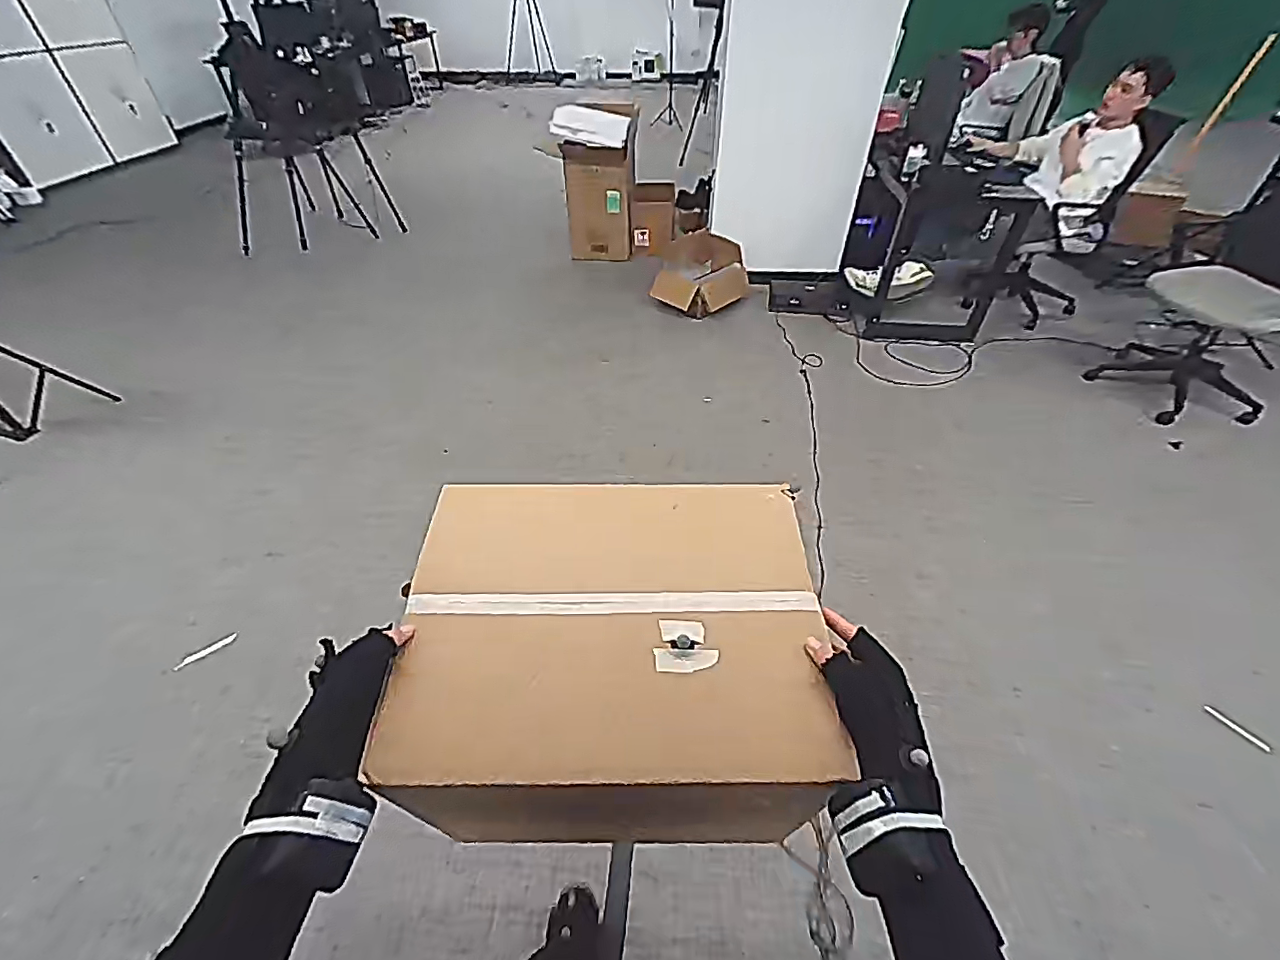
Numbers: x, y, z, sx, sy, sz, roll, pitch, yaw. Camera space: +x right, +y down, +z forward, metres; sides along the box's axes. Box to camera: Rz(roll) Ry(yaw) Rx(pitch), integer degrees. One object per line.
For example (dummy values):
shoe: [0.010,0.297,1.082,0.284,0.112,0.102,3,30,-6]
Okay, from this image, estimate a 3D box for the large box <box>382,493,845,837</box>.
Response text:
large box: [-0.027,0.229,0.665,0.408,0.320,0.320,1,49,-1]
